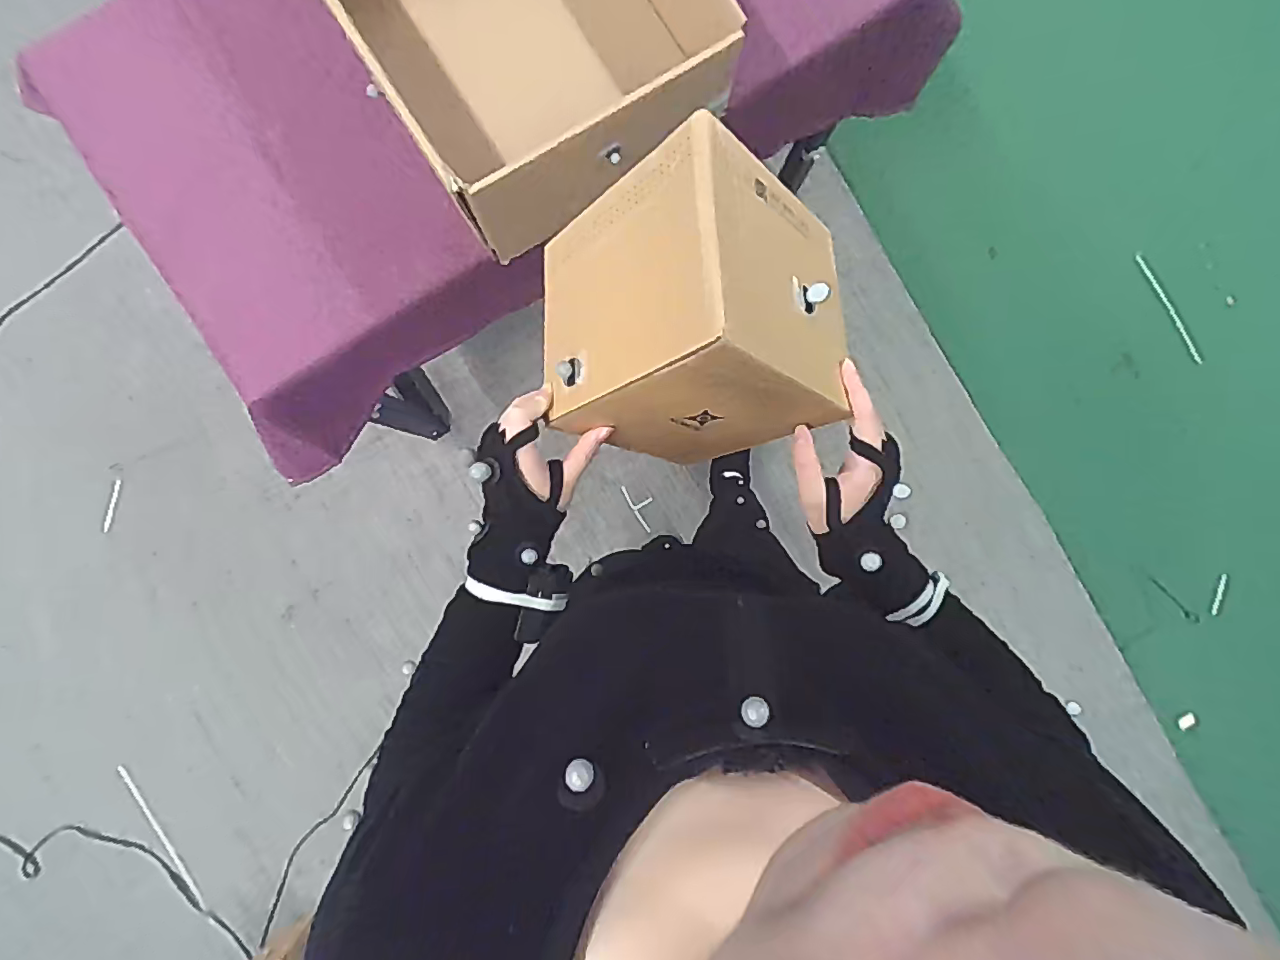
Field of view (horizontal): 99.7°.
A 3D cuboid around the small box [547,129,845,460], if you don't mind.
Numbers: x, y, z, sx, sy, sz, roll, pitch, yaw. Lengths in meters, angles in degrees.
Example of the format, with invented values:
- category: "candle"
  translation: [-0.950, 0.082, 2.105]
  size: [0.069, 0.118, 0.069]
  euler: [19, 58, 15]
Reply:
- category: "small box"
  translation: [0.037, -0.128, 0.438]
  size: [0.168, 0.179, 0.176]
  euler: [12, 70, -41]
